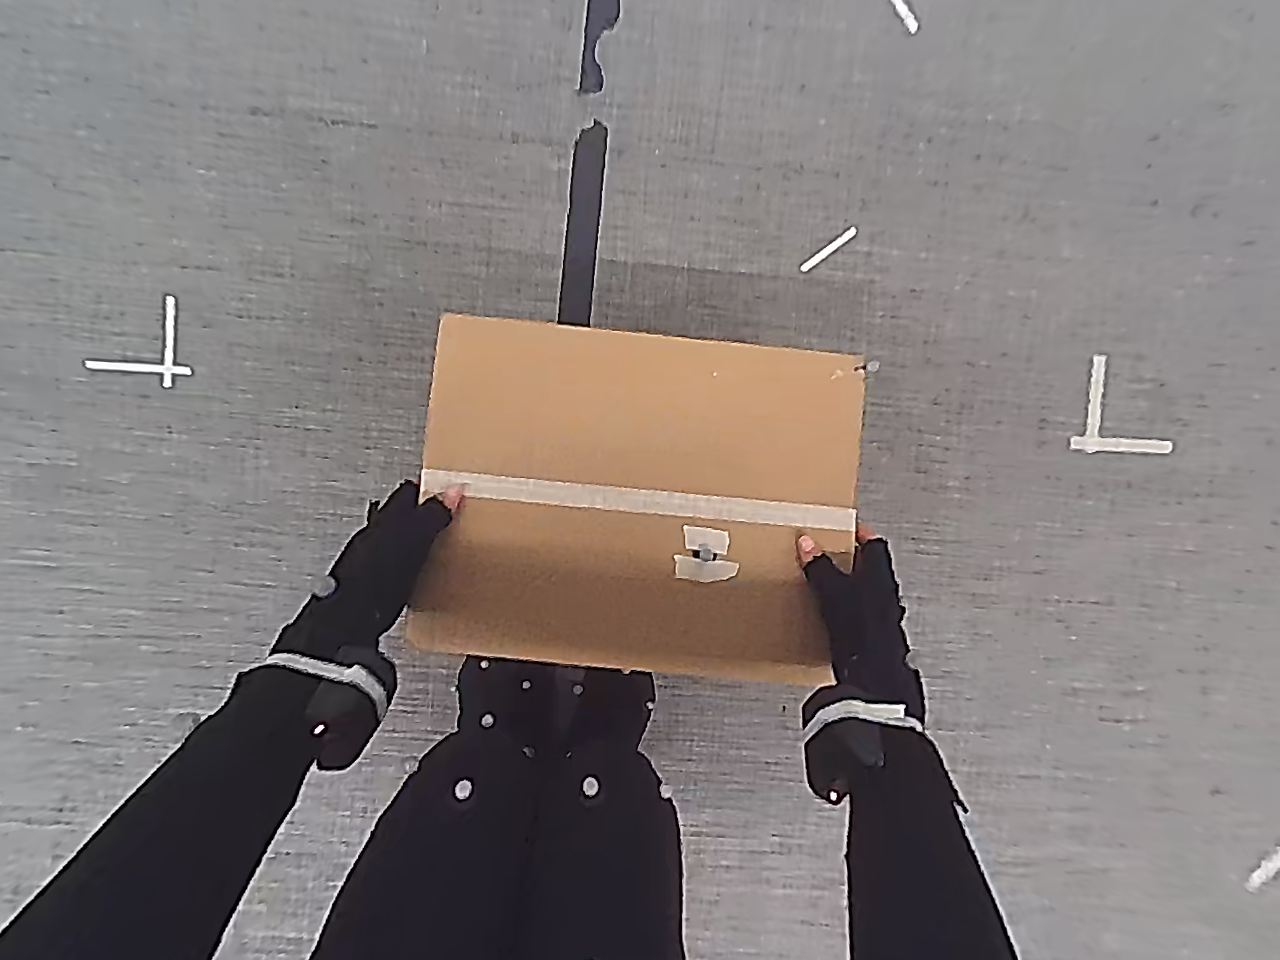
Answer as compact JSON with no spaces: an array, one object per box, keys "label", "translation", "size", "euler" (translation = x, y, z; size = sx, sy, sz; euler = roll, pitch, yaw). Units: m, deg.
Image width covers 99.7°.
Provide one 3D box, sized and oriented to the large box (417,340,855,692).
[{"label":"large box","translation":[-0.005,0.042,0.662],"size":[0.408,0.320,0.320],"euler":[6,88,-1]}]
